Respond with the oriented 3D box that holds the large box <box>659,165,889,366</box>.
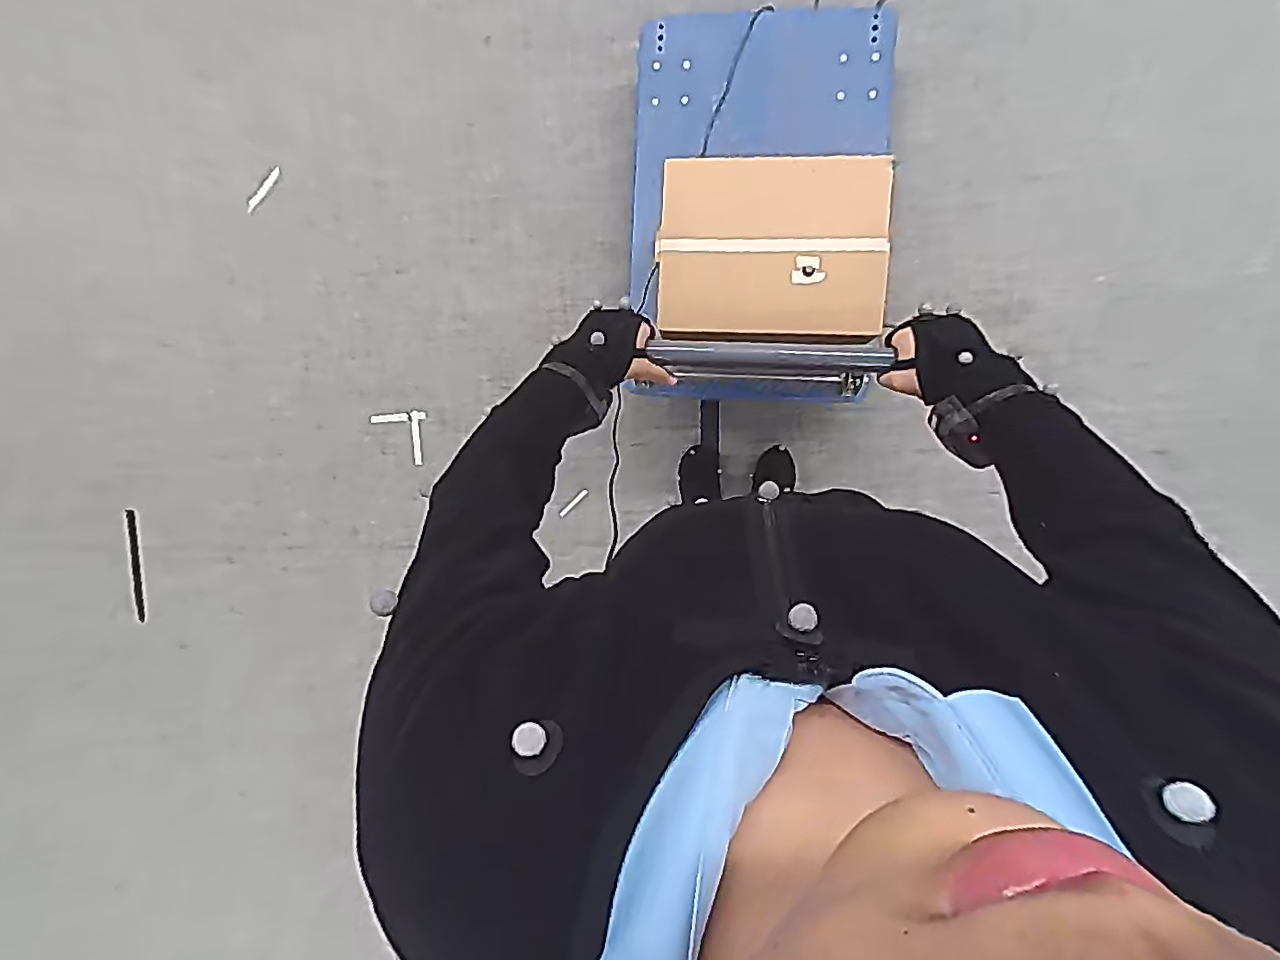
[{"bbox_3d":[0.250,-0.417,1.125,0.408,0.320,0.320,3,94,6],"label":"large box"}]
